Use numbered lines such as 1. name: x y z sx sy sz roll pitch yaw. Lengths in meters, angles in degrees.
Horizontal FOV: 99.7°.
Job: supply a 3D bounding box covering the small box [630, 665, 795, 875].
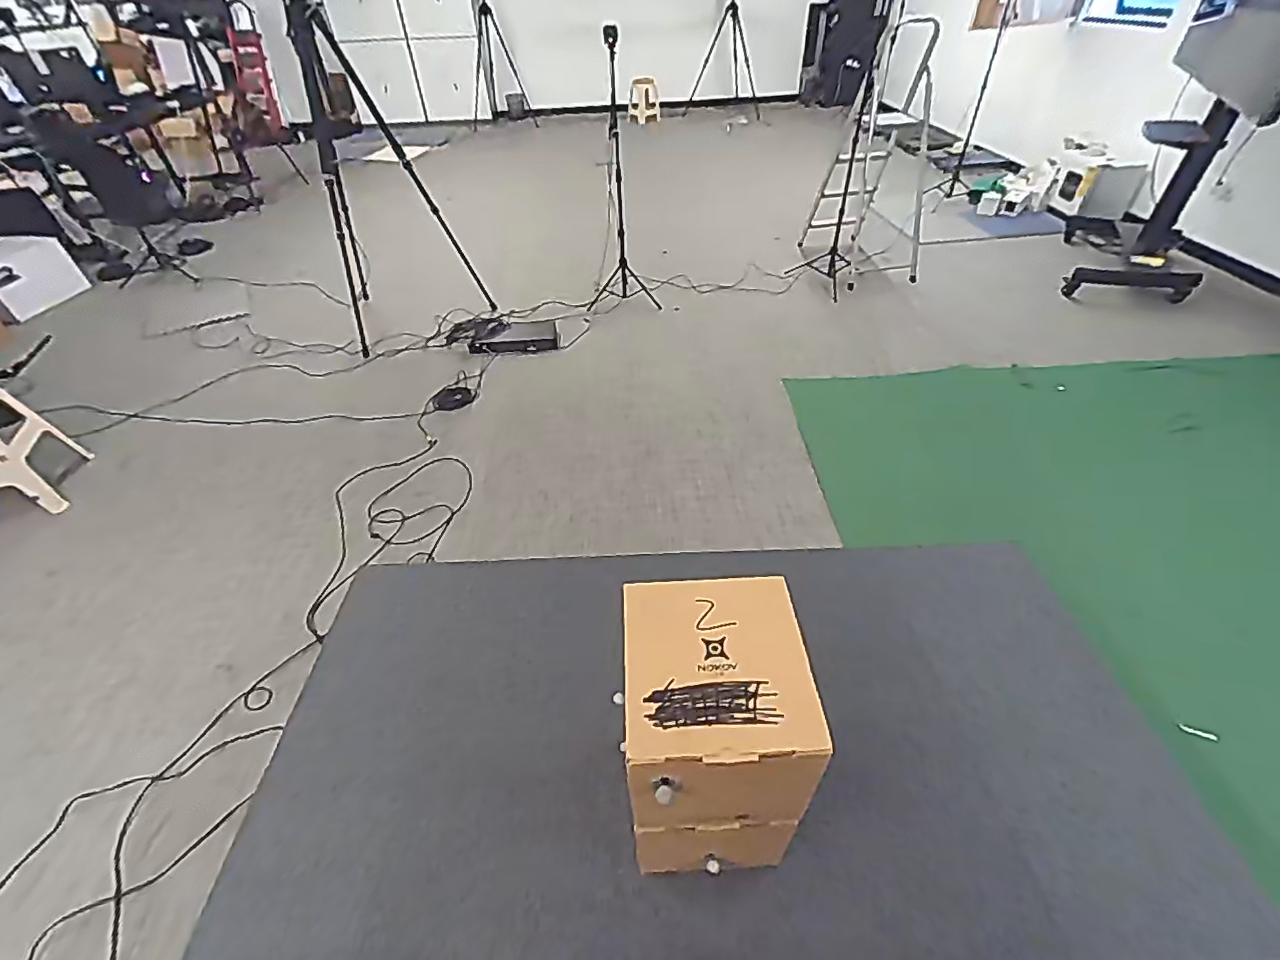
1. small box: 0.073 0.348 0.653 0.168 0.176 0.179 -3 43 -1
